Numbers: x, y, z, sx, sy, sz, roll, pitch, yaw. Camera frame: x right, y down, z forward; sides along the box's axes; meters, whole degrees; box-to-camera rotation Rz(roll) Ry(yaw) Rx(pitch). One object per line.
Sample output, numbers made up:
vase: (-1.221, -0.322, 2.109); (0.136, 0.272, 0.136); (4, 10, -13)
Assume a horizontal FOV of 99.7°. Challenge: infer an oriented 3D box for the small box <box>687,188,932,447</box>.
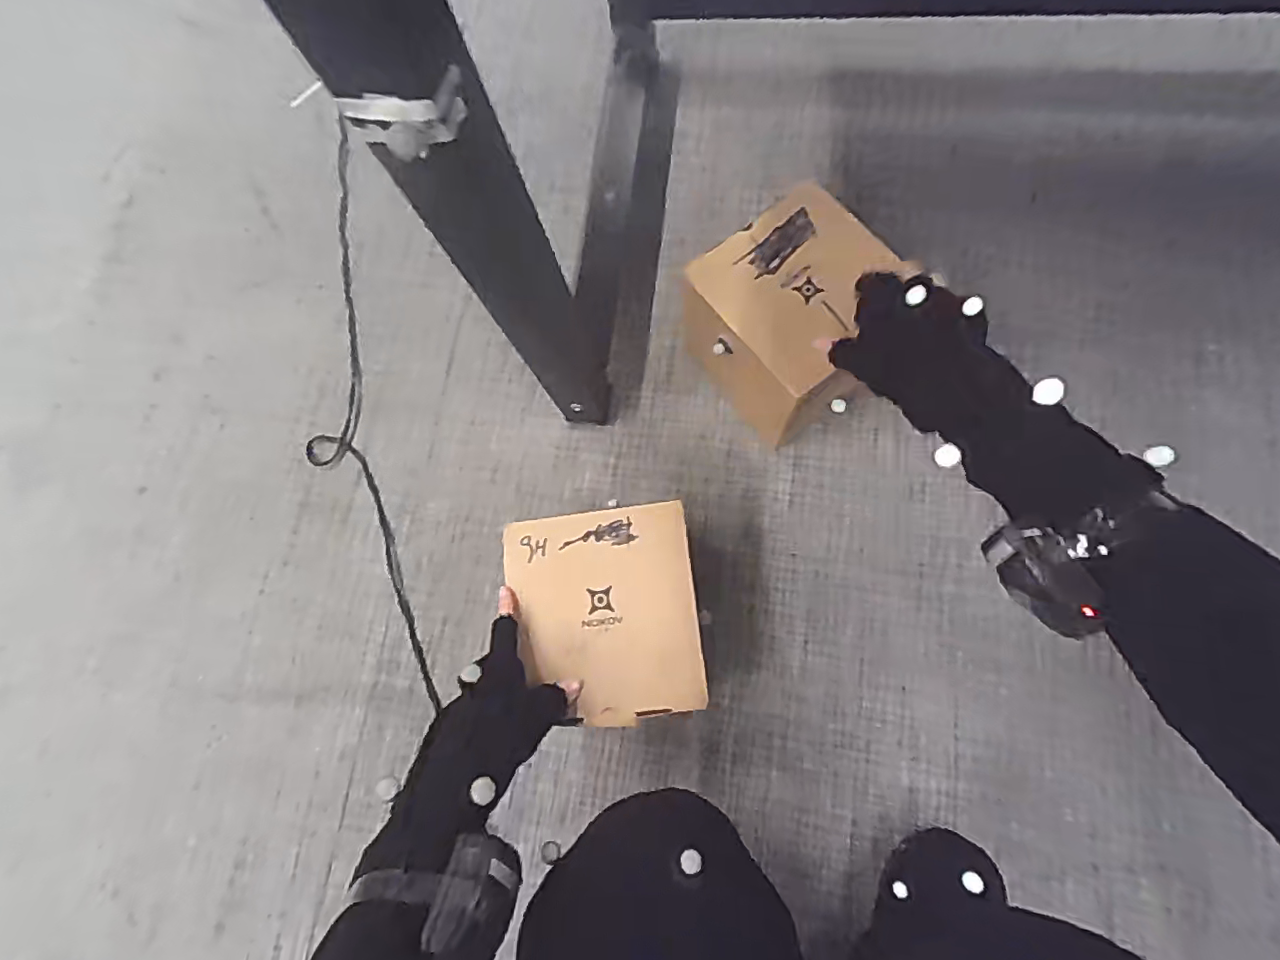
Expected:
small box: (0.166, -0.163, 0.594); (0.168, 0.176, 0.179); (-36, 76, -2)
